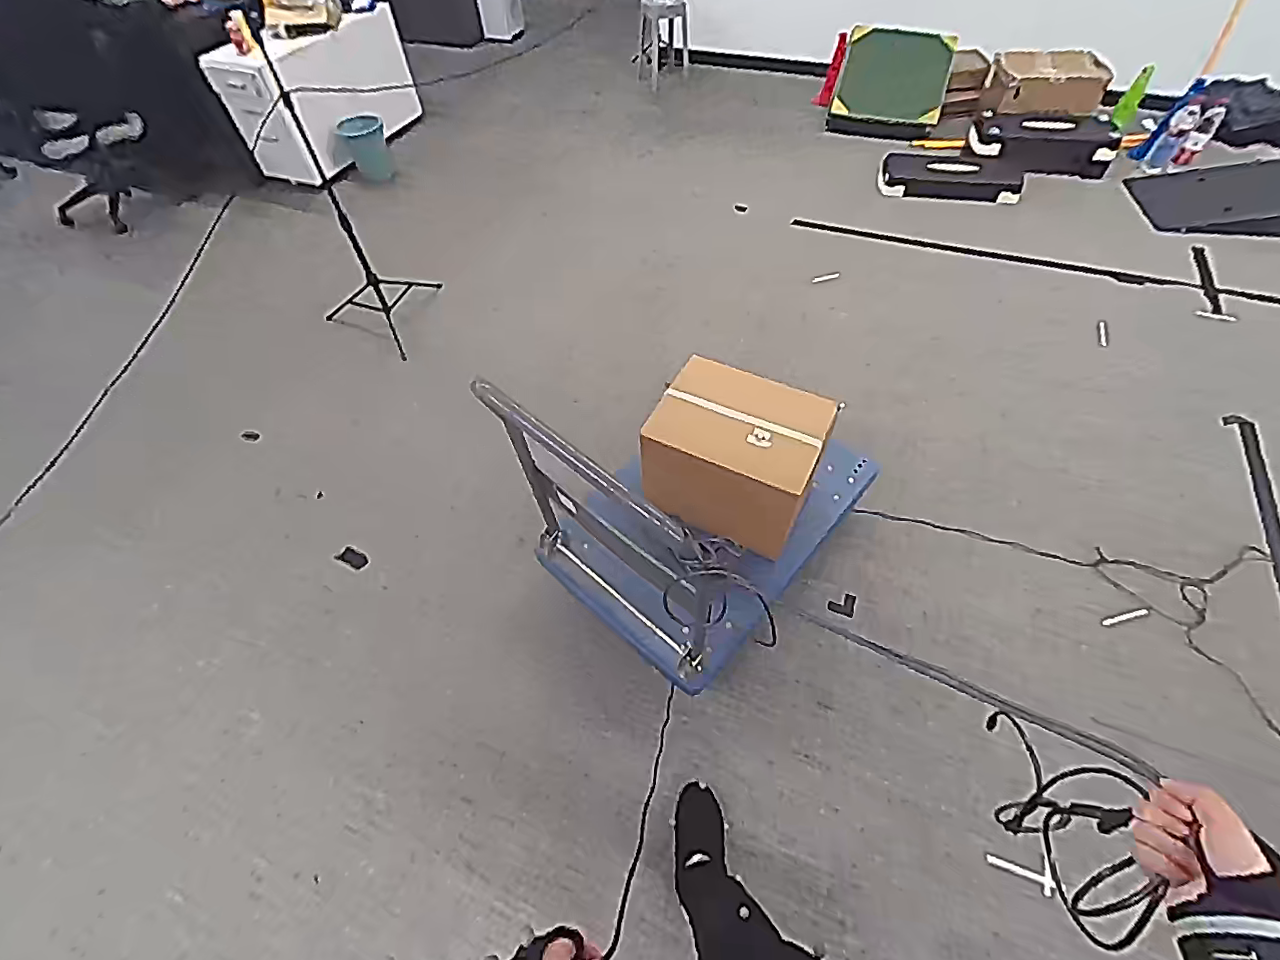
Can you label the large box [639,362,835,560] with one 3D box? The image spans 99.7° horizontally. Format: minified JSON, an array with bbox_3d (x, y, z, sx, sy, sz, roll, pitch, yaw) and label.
[{"bbox_3d":[0.240,-0.050,1.431,0.408,0.320,0.320,23,59,17],"label":"large box"}]
